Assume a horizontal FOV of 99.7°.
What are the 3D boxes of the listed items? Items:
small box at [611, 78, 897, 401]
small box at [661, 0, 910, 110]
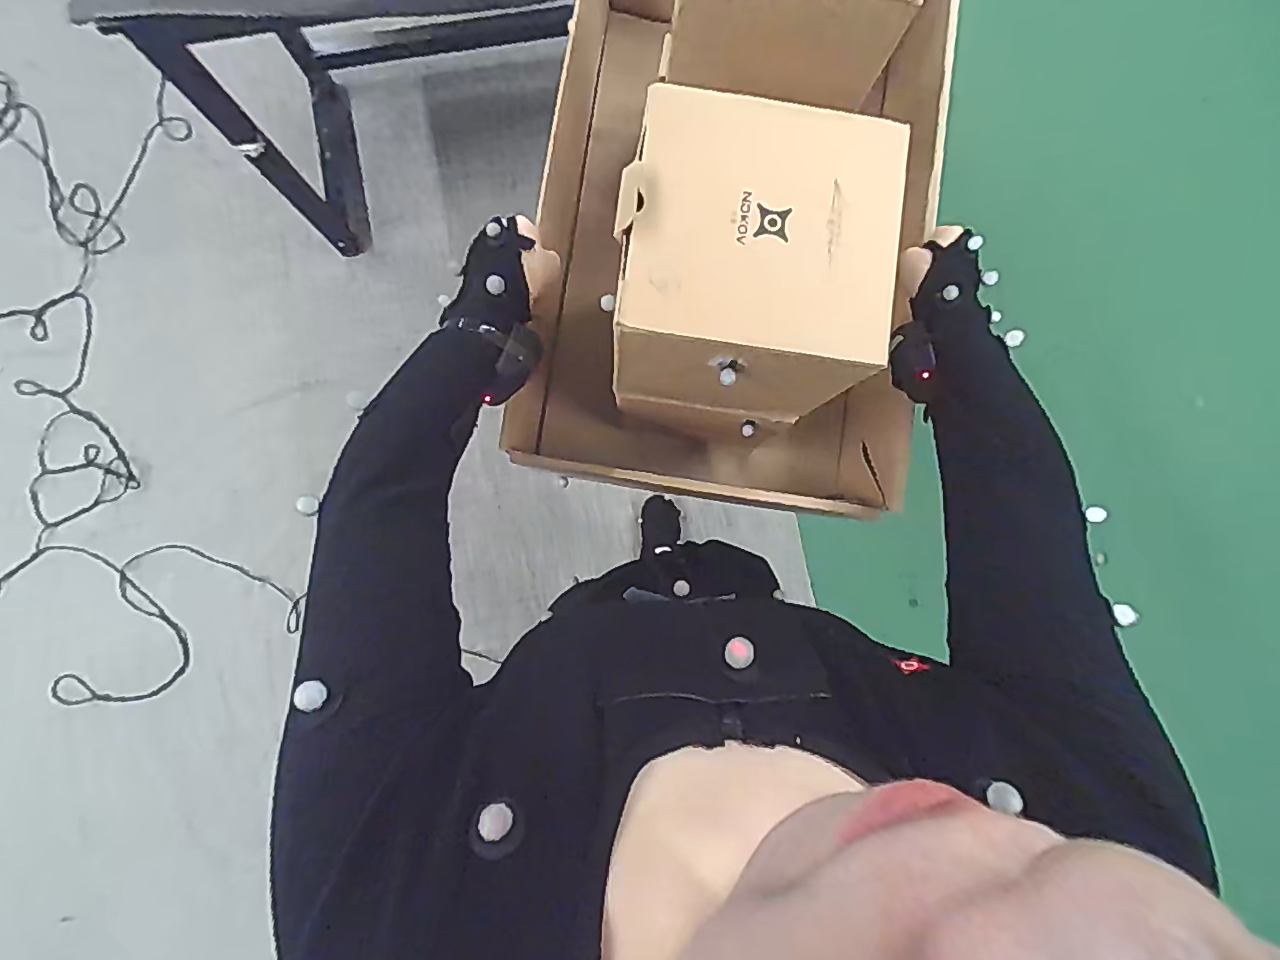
[{"bbox_3d":[0.072,-0.167,0.433,0.179,0.176,0.168,8,86,-4],"label":"small box"},{"bbox_3d":[0.113,-0.418,0.446,0.168,0.176,0.179,9,88,-3],"label":"small box"}]
